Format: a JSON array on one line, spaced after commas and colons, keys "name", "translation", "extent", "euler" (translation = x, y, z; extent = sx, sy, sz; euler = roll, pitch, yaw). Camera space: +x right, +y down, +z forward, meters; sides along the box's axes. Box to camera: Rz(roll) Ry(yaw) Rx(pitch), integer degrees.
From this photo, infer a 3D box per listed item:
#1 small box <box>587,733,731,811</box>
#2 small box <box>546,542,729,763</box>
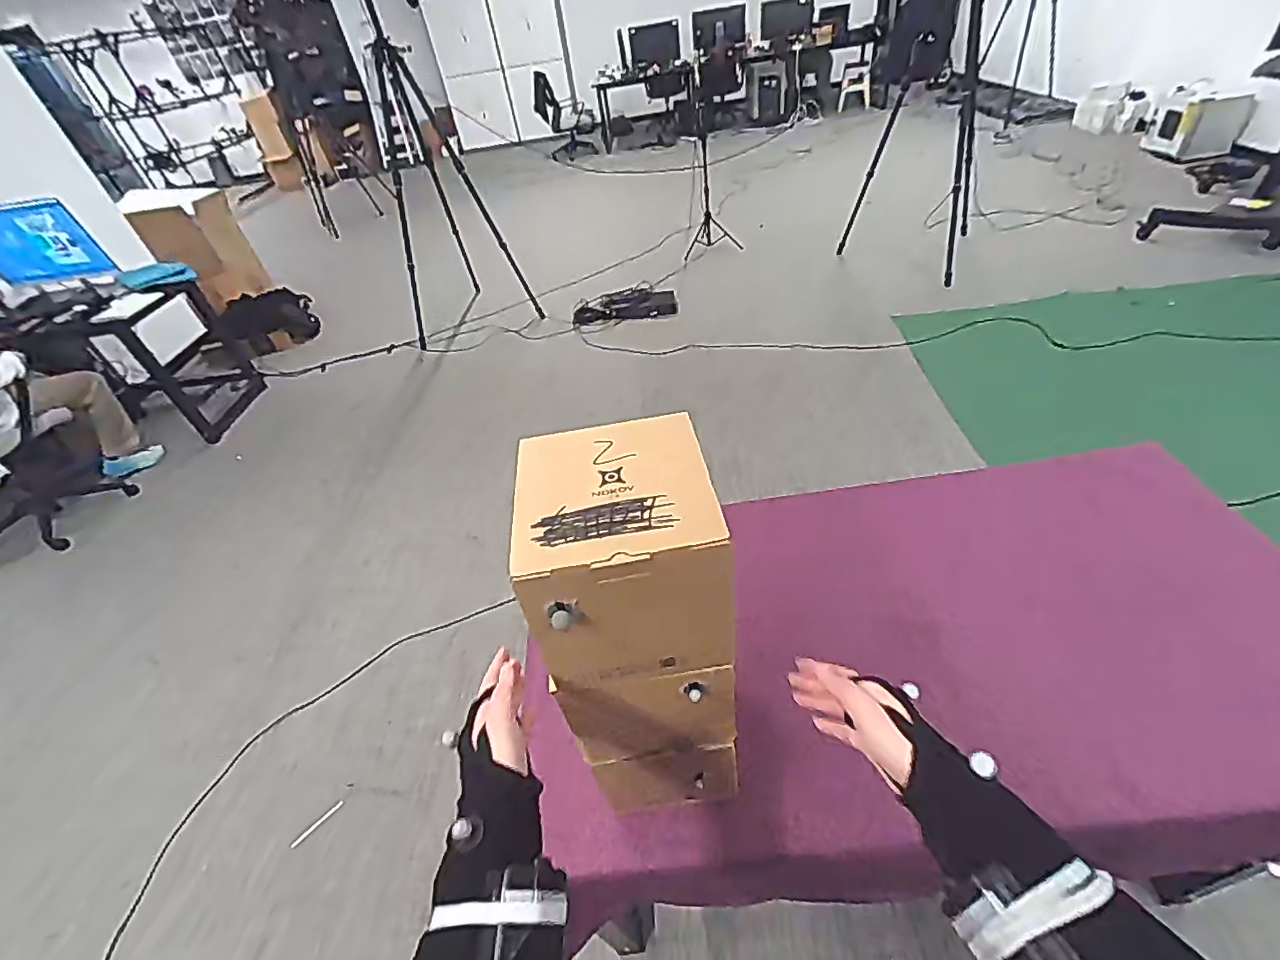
[{"name": "small box", "translation": [0.025, 0.317, 0.719], "extent": [0.168, 0.176, 0.179], "euler": [-8, 41, 1]}, {"name": "small box", "translation": [0.000, 0.197, 0.613], "extent": [0.179, 0.176, 0.168], "euler": [-8, 41, -1]}]
